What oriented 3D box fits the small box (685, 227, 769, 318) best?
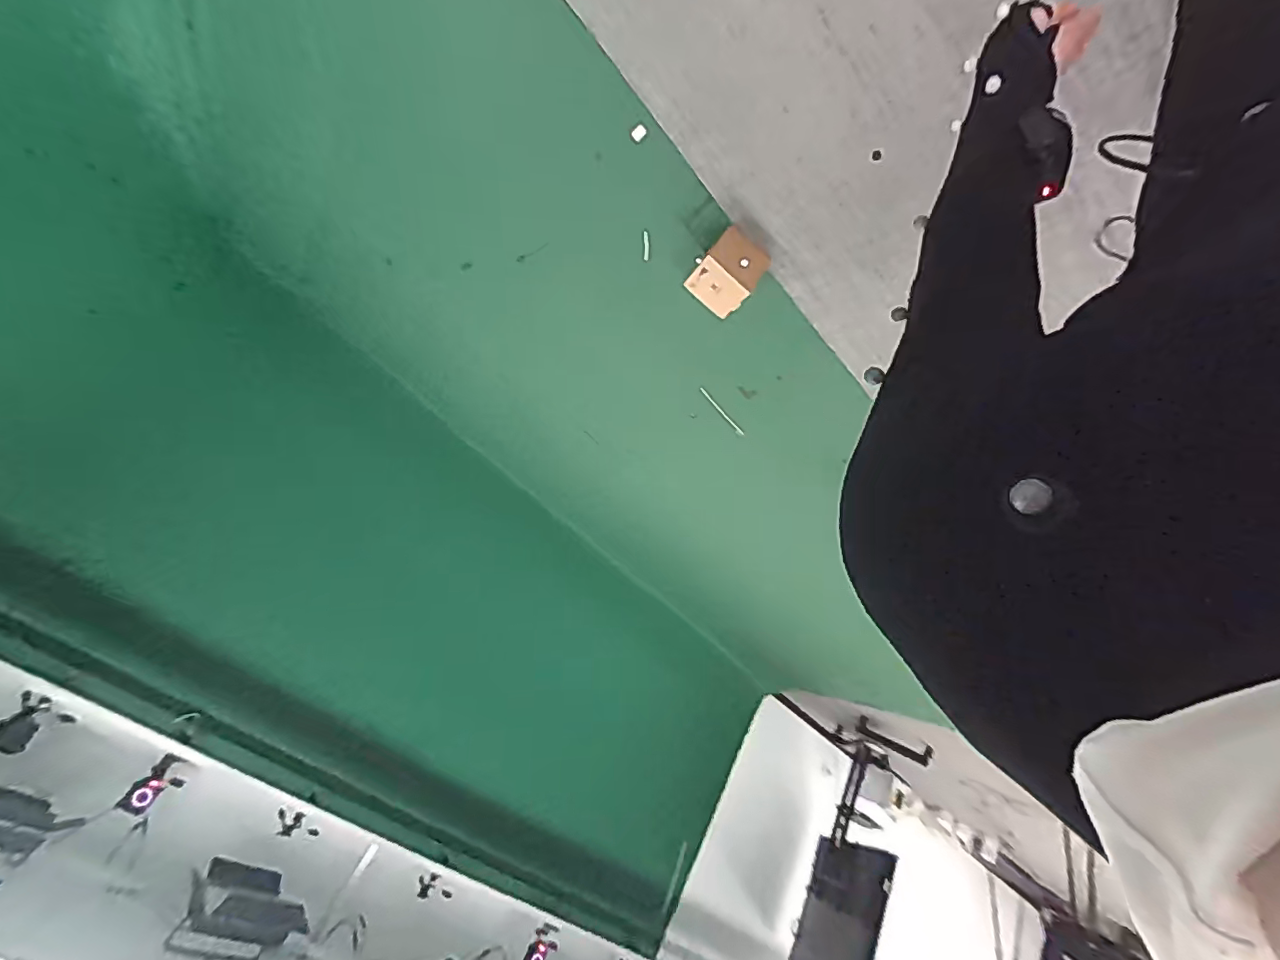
[{"bbox_3d":[0.282,-0.666,1.732,0.179,0.176,0.168,38,154,-12],"label":"small box"}]
